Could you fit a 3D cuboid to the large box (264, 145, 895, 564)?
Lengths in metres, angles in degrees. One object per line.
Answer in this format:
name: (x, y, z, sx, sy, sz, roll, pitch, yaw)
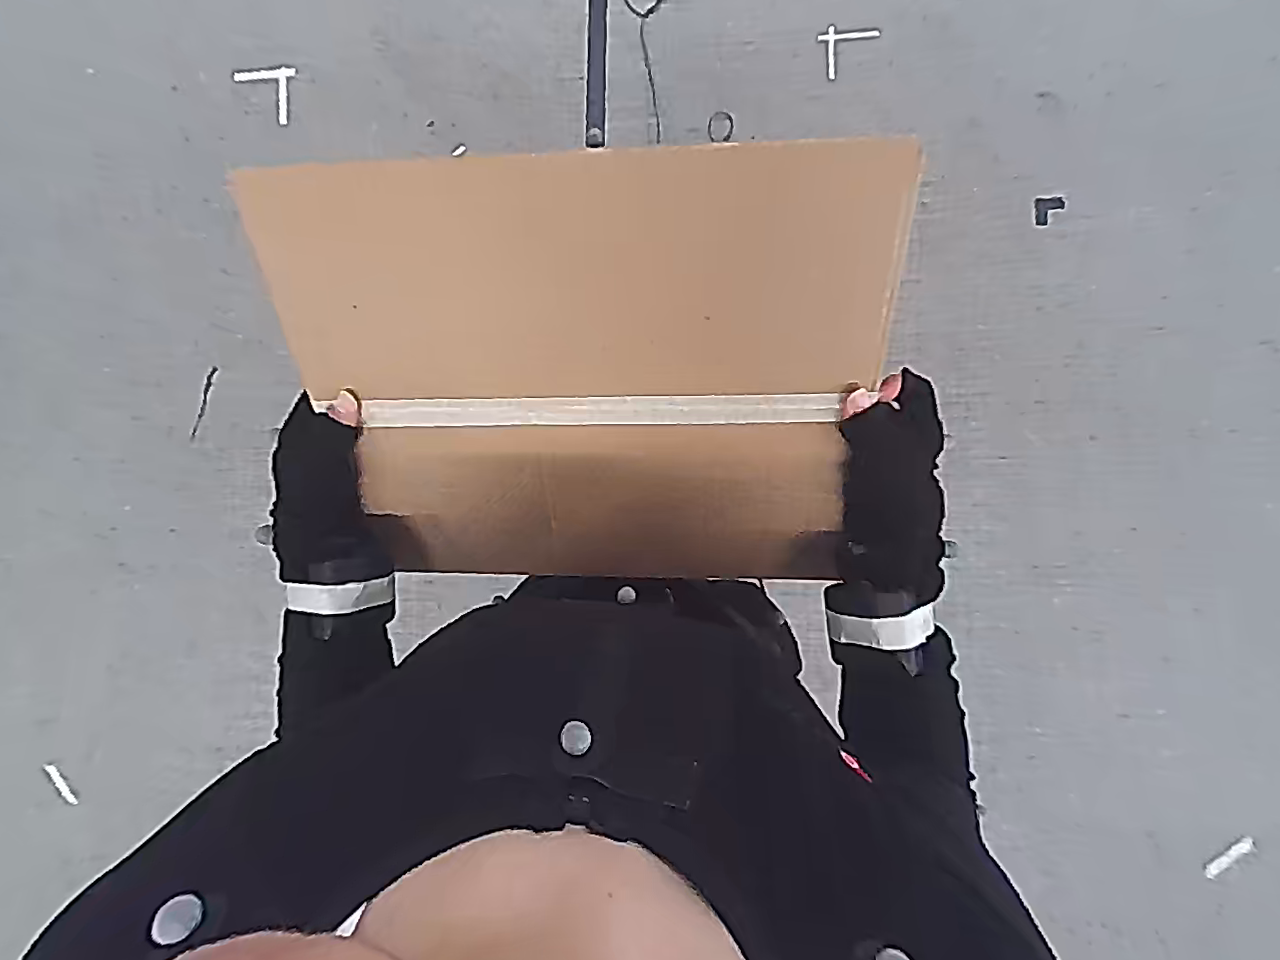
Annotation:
large box: (-0.026, -0.133, 0.531, 0.408, 0.320, 0.320, 0, 121, 5)
